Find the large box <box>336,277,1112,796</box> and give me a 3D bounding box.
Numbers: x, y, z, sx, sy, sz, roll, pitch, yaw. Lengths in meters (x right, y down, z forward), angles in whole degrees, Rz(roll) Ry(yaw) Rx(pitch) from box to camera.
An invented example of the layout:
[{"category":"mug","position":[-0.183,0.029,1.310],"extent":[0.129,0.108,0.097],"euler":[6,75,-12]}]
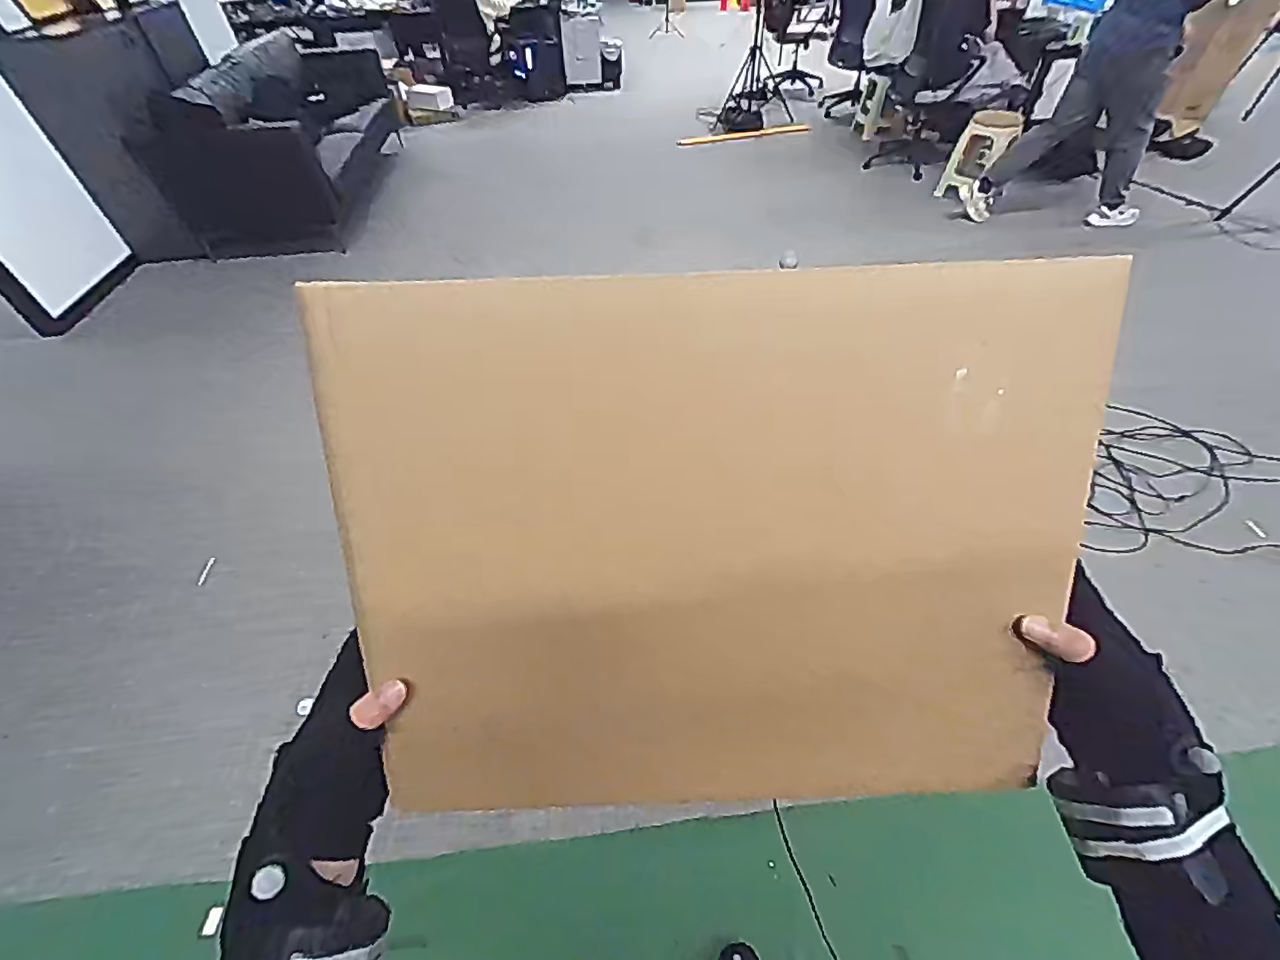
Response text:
[{"category":"large box","position":[0.043,0.014,0.449],"extent":[0.408,0.320,0.320],"euler":[-1,15,0]}]
